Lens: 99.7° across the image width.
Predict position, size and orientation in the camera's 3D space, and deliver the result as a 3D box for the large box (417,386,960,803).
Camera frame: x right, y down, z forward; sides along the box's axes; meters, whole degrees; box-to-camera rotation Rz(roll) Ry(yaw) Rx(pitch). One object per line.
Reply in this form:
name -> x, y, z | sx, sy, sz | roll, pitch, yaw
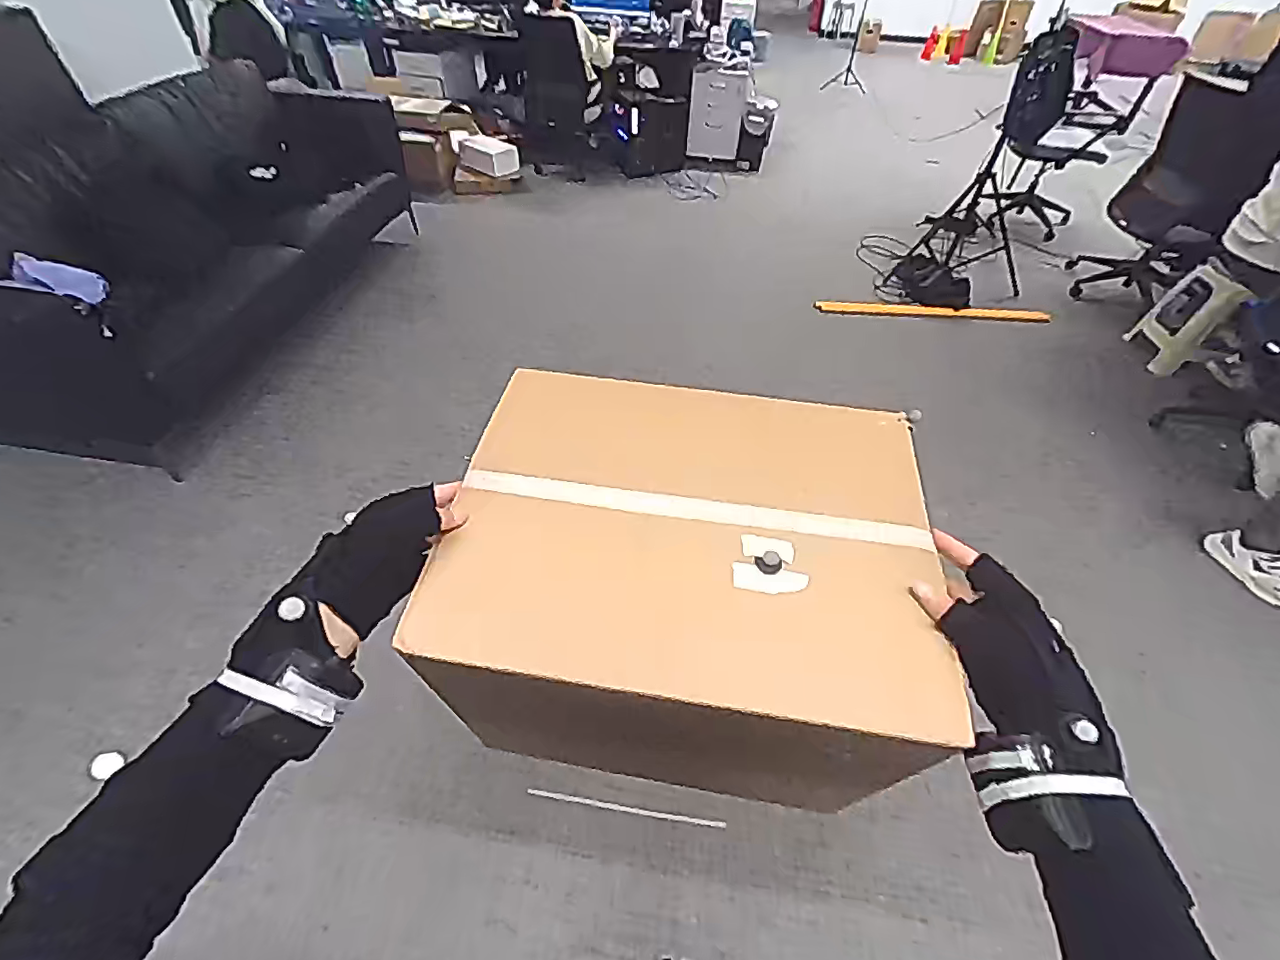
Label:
large box -> 0.045, 0.129, 0.595 | 0.408, 0.320, 0.320 | 7, 52, 5
